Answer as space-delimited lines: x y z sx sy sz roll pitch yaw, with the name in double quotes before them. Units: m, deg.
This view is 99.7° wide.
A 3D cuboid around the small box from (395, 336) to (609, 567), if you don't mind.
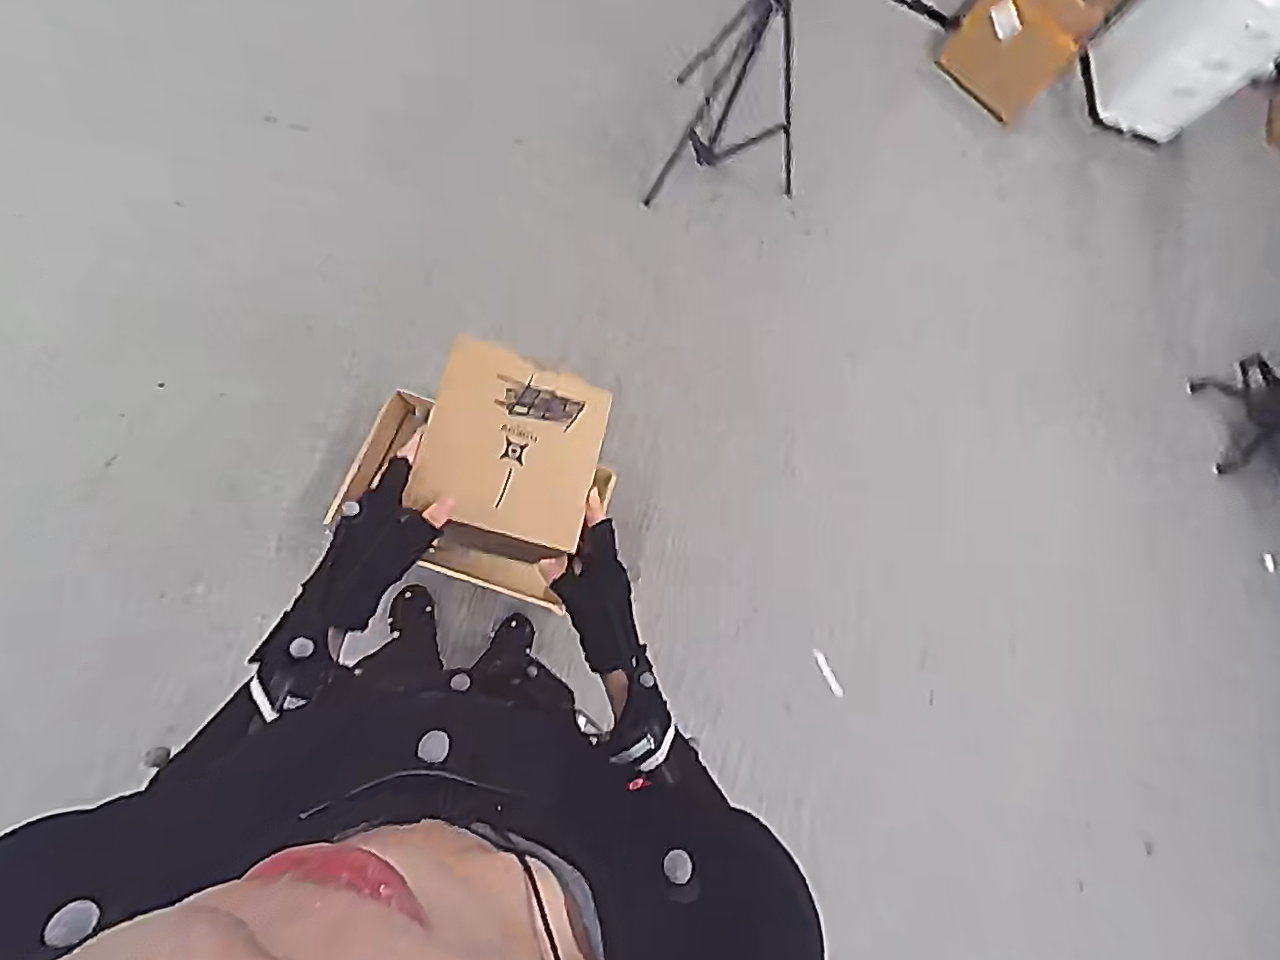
"small box" -0.152 -0.015 0.576 0.168 0.176 0.179 18 69 -22
